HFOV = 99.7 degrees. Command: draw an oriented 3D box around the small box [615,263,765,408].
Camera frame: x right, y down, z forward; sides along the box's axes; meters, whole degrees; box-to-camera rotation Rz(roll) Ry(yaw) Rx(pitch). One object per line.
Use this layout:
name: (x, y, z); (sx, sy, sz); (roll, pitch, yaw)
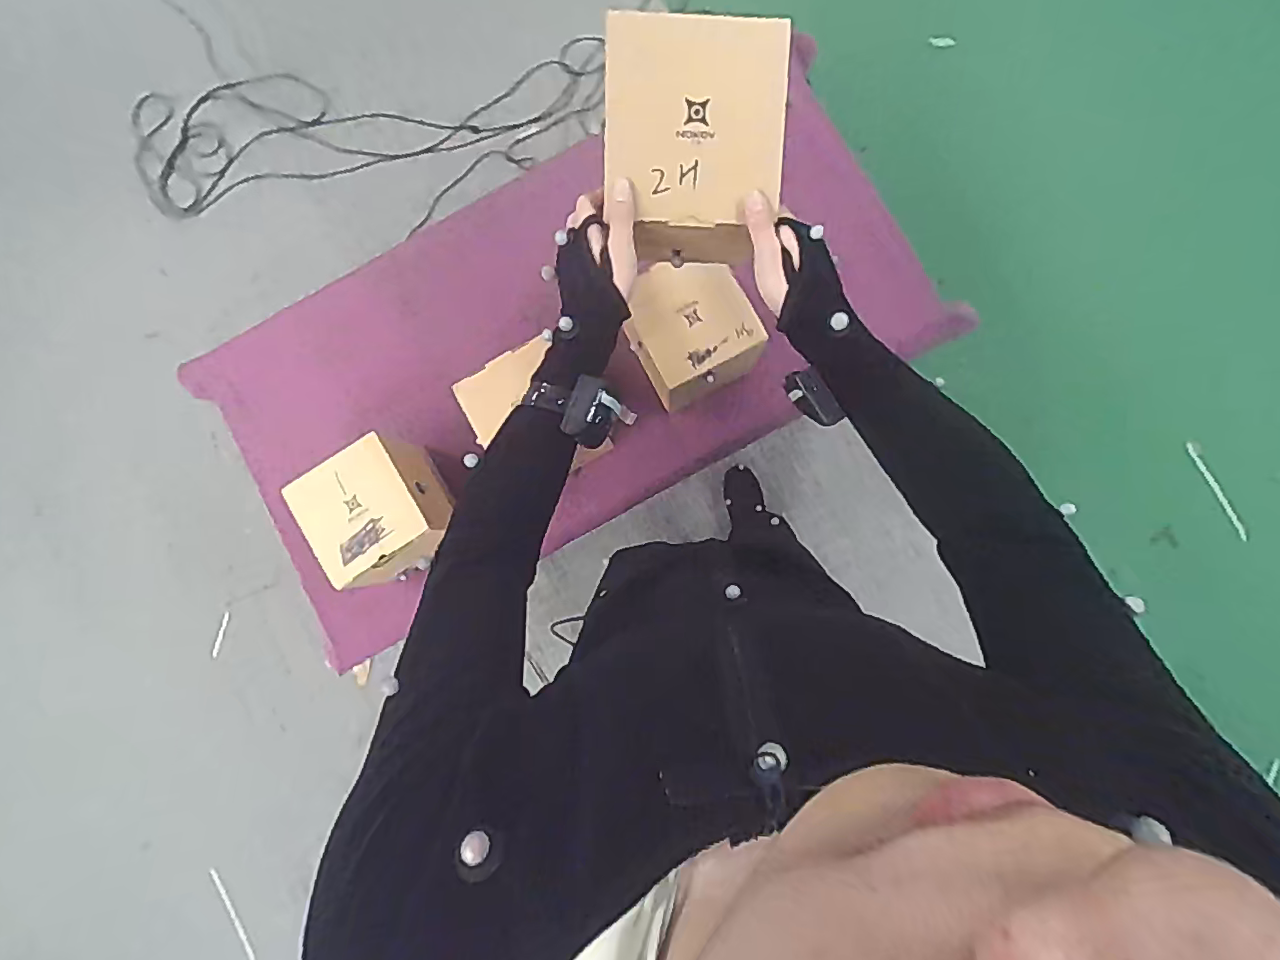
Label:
small box: (0.076, -0.240, 0.867); (0.168, 0.176, 0.179); (-27, 84, 1)

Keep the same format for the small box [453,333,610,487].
small box: (-0.164, -0.101, 0.874); (0.168, 0.176, 0.179); (-29, 85, 2)

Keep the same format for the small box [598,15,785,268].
small box: (0.044, -0.338, 0.574); (0.168, 0.176, 0.179); (2, 101, -1)

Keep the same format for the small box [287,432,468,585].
small box: (-0.410, 0.048, 0.875); (0.168, 0.176, 0.179); (-33, 82, 0)
